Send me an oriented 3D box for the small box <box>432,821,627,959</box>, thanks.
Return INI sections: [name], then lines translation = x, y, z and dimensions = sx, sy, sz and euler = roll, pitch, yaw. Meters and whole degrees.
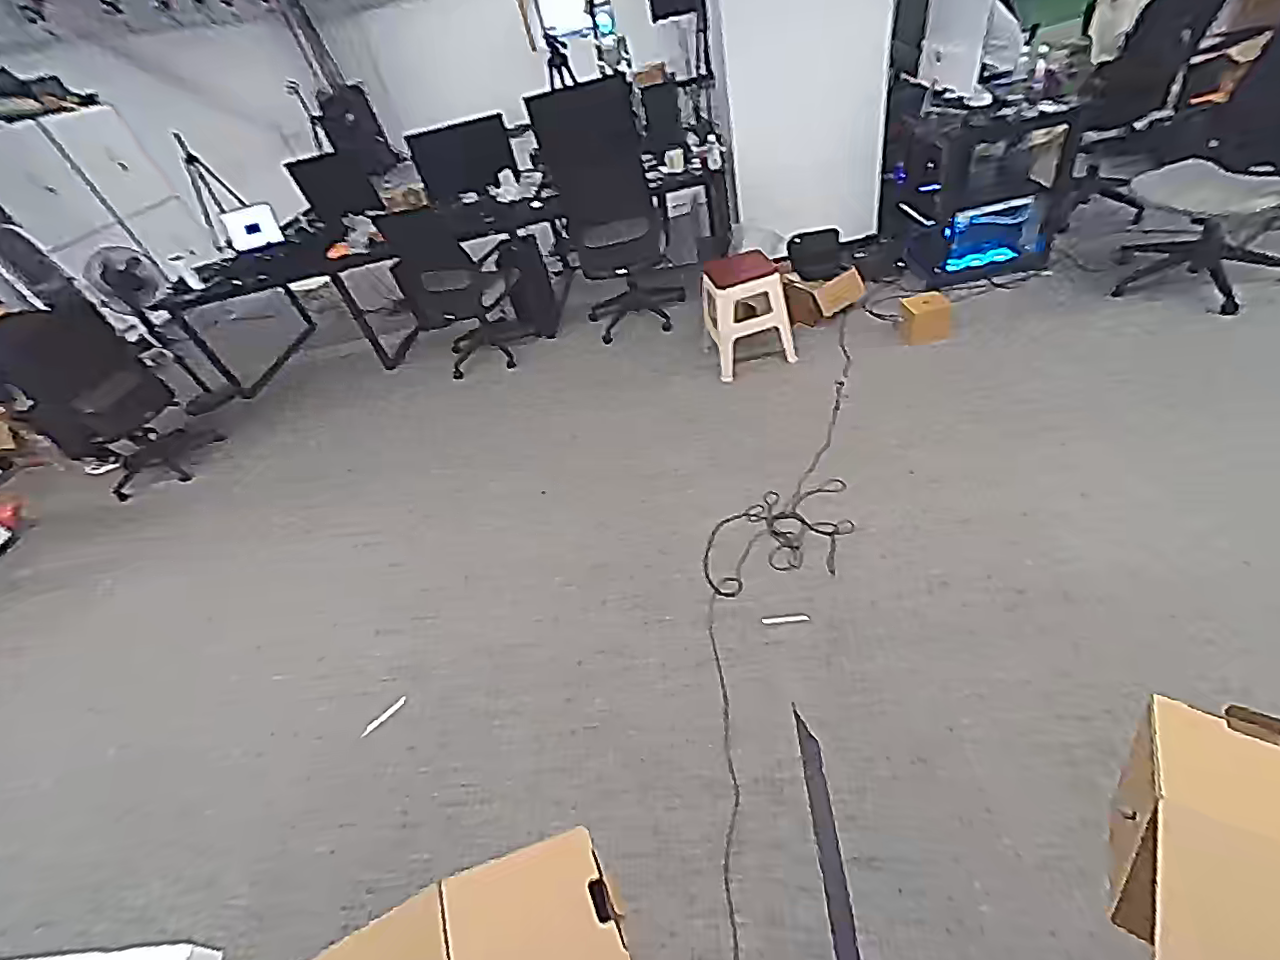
[small box]
translation = -0.130, 0.536, 0.610
dimensions = 0.179, 0.176, 0.168
euler = -5, 37, -26
